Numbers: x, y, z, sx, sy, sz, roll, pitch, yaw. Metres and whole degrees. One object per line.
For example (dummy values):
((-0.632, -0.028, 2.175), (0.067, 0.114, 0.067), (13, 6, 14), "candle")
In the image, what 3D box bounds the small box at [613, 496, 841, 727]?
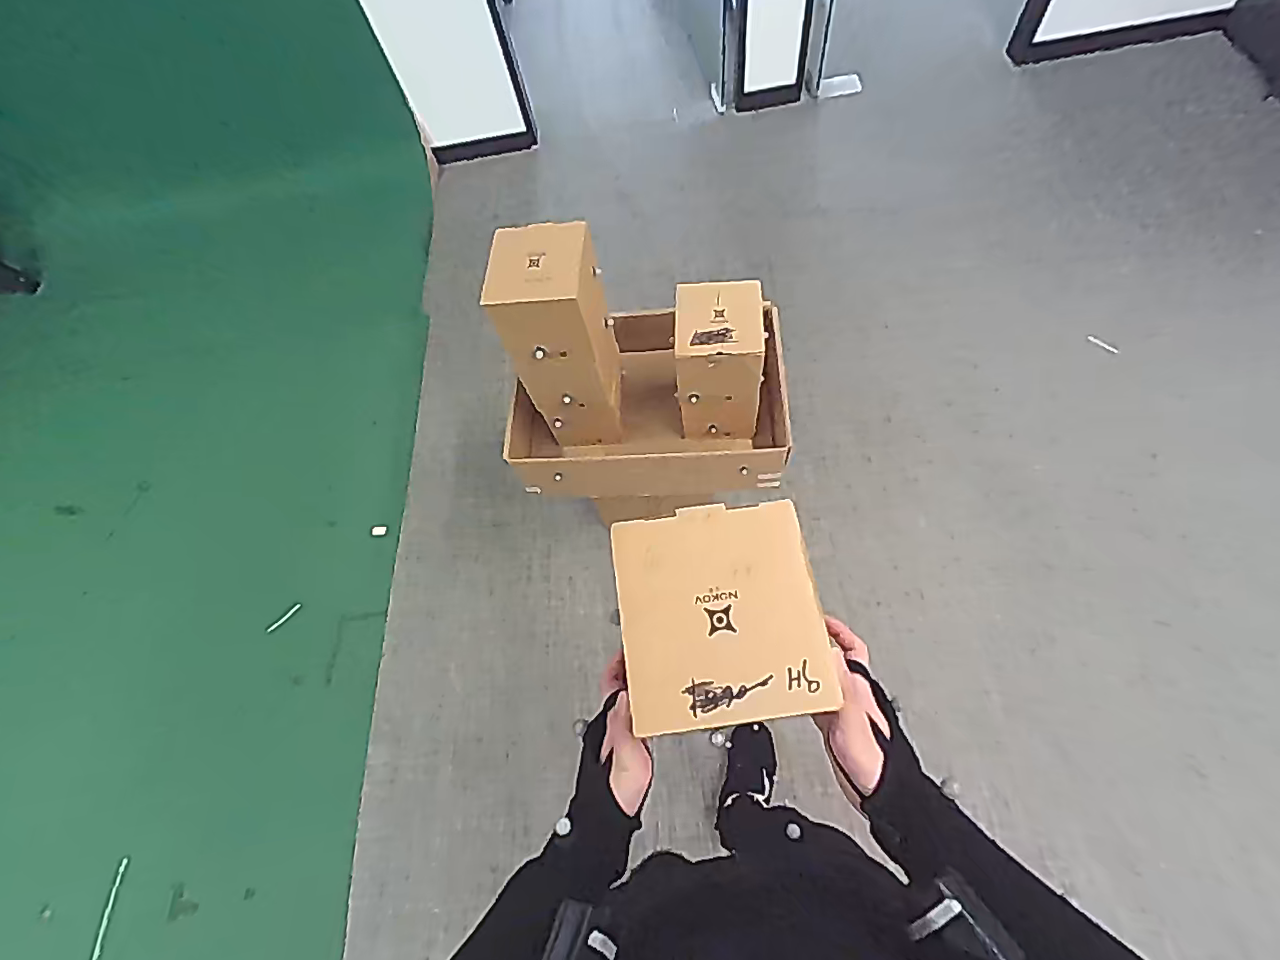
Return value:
((0.067, 0.133, 0.518), (0.168, 0.176, 0.179), (-7, 66, 0), "small box")

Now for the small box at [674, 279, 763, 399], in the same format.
((0.158, -0.272, 1.084), (0.168, 0.176, 0.179), (-1, 66, 8), "small box")

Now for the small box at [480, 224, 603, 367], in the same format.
((-0.166, -0.327, 0.977), (0.168, 0.176, 0.179), (-2, 65, 9), "small box")

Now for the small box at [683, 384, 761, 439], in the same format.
((0.183, -0.211, 1.235), (0.168, 0.176, 0.179), (-2, 66, 7), "small box")

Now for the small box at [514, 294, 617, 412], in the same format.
((-0.145, -0.260, 1.125), (0.168, 0.176, 0.179), (-1, 66, 9), "small box")
